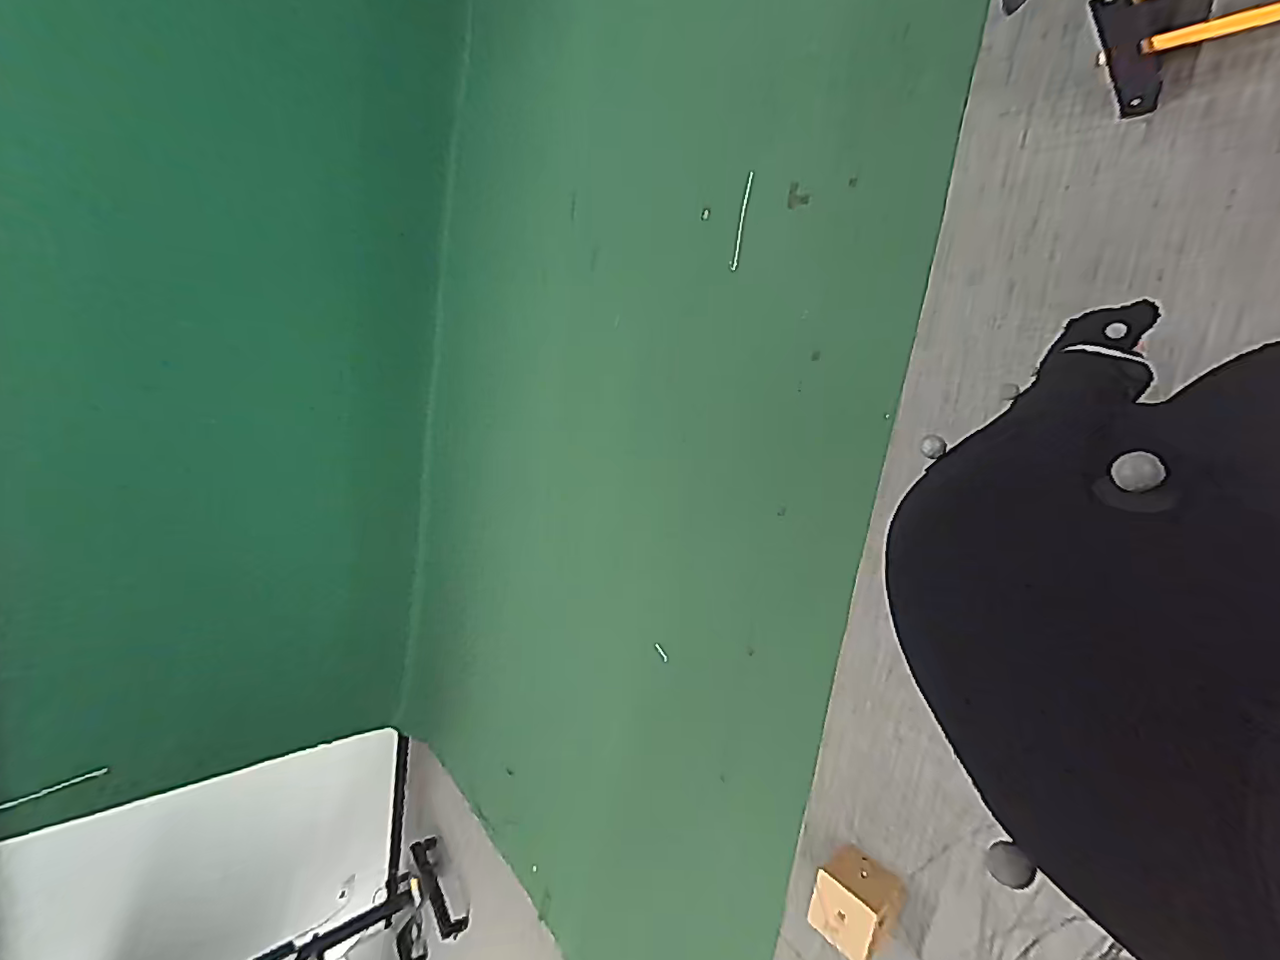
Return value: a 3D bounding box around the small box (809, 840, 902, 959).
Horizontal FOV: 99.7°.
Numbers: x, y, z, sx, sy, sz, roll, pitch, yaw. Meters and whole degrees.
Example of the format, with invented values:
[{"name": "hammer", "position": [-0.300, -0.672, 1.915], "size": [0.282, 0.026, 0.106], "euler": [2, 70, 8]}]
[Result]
[{"name": "small box", "position": [0.596, 1.148, 1.489], "size": [0.168, 0.176, 0.179], "euler": [20, 104, 46]}]
